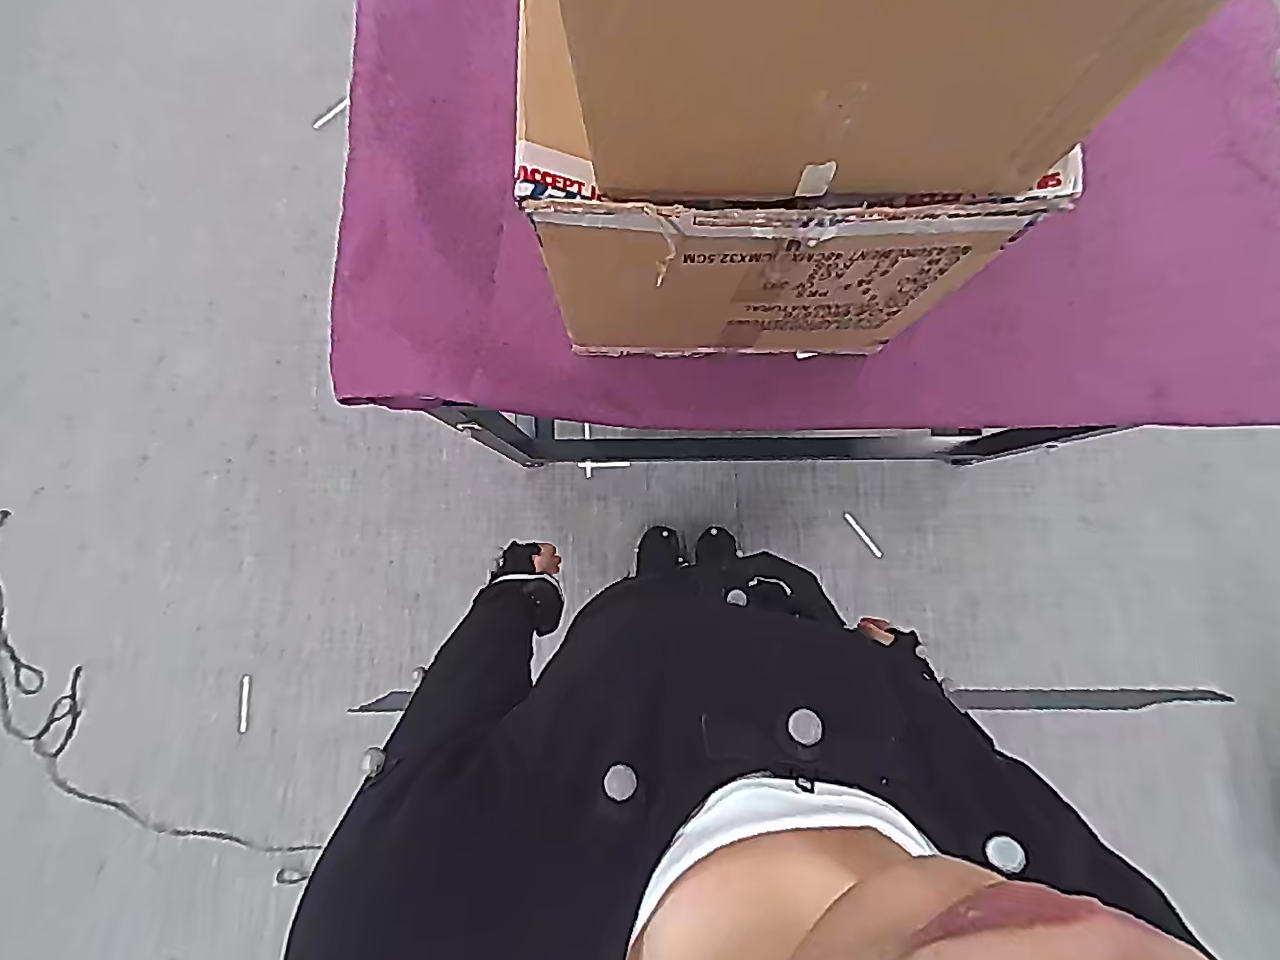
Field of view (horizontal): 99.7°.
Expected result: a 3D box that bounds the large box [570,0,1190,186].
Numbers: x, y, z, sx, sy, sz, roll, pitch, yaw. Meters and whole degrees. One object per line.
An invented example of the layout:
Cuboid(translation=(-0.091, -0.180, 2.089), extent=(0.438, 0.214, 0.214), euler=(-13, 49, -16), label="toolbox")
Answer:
Cuboid(translation=(0.116, -0.428, 0.264), extent=(0.320, 0.320, 0.408), euler=(0, 85, 4), label="large box")
